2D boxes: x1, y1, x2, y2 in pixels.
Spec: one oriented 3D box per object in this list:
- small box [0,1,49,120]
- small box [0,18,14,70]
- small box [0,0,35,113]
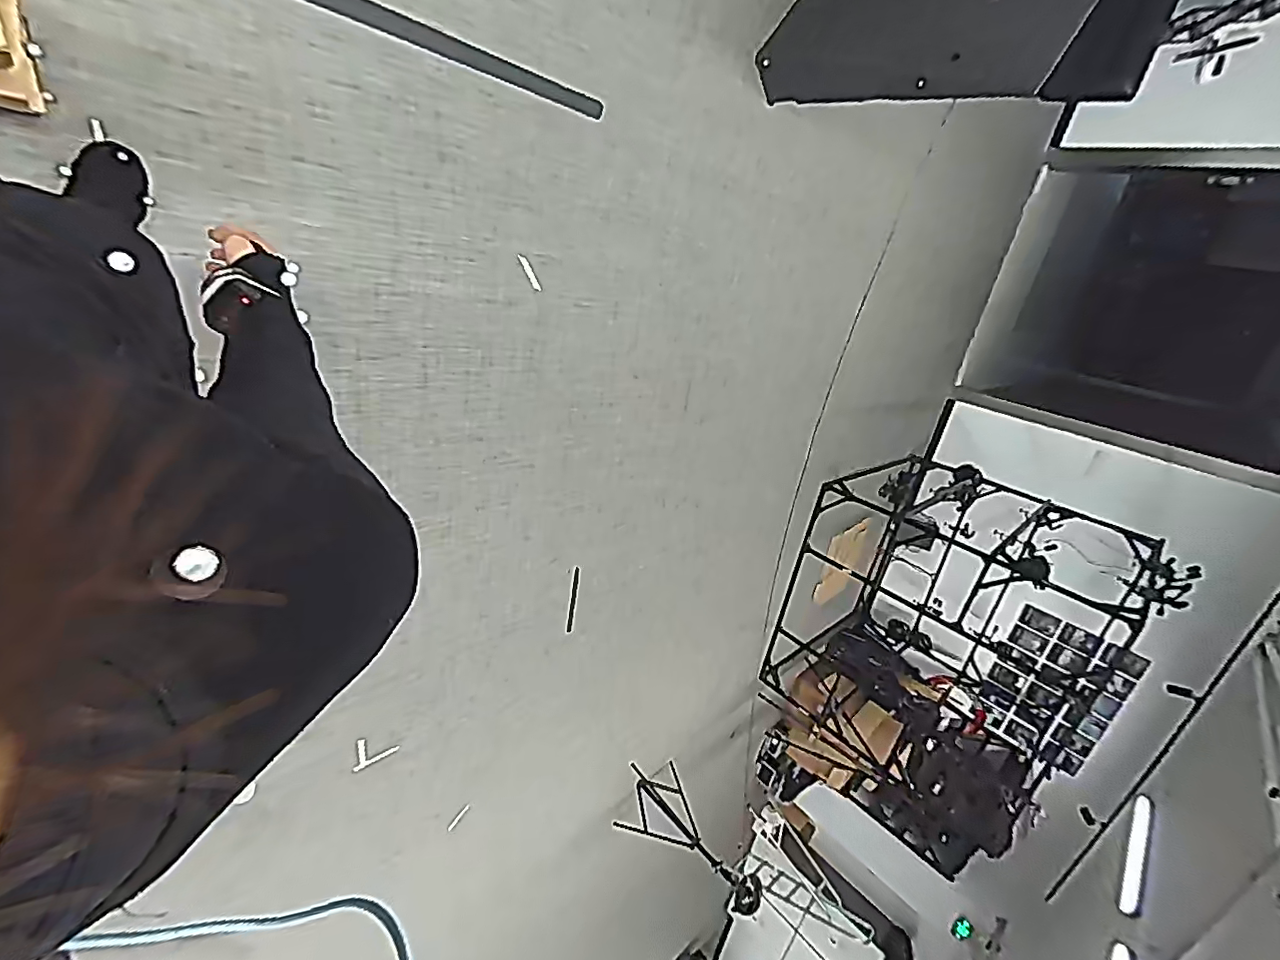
[{"bbox_3d":[-1.092,-0.696,0.863,0.179,0.176,0.168,-13,122,-43],"label":"small box"},{"bbox_3d":[-0.768,-0.531,0.529,0.168,0.176,0.179,-19,127,-40],"label":"small box"},{"bbox_3d":[-0.982,-0.643,0.755,0.168,0.176,0.179,-8,119,-46],"label":"small box"}]
